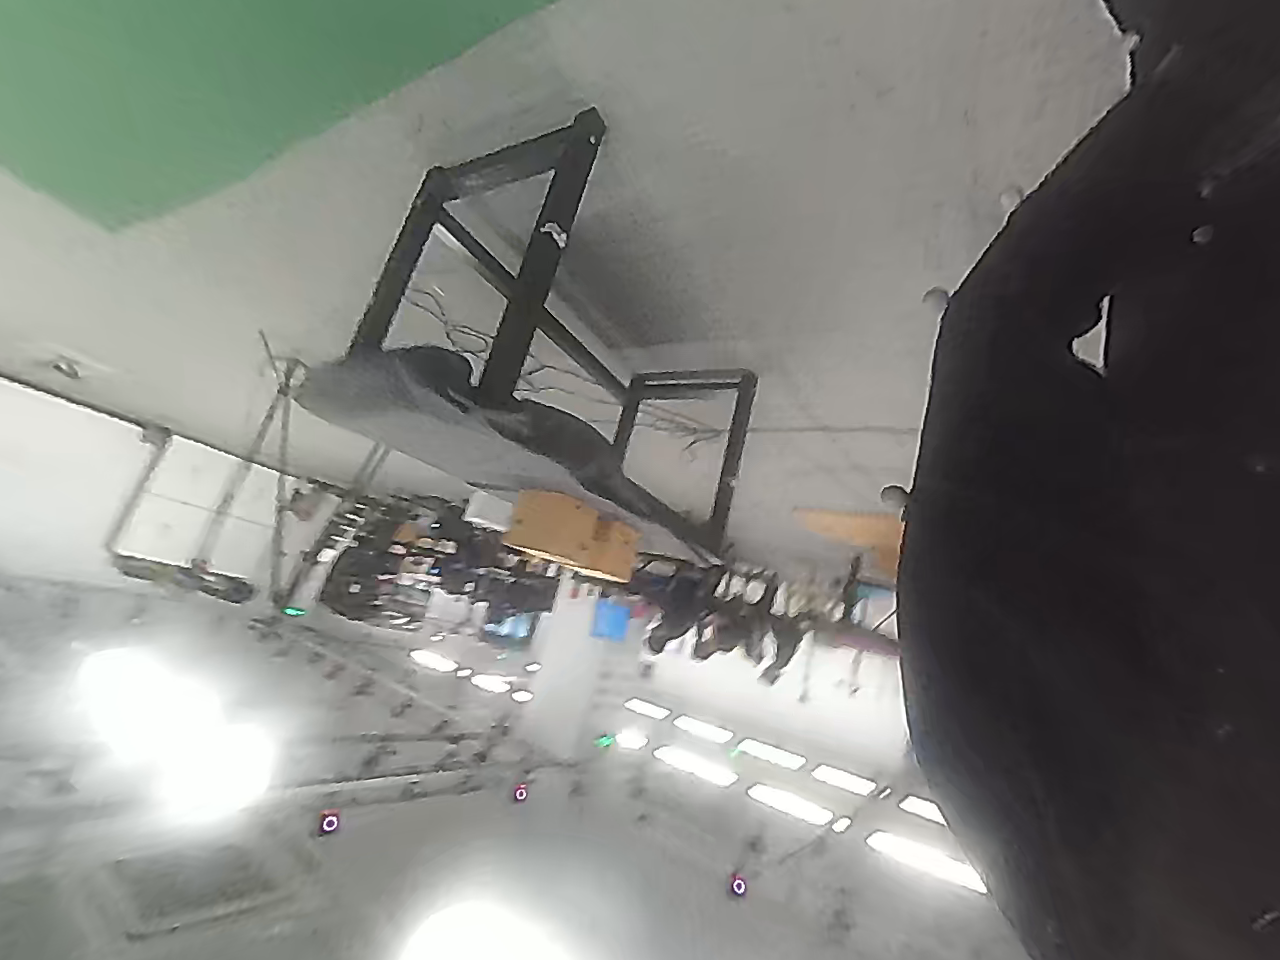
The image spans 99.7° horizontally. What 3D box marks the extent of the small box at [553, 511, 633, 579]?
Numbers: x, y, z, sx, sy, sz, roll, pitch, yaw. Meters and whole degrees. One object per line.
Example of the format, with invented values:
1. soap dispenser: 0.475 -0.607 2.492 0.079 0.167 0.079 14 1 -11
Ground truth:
1. small box: -0.147 0.205 1.744 0.179 0.176 0.168 5 161 34
